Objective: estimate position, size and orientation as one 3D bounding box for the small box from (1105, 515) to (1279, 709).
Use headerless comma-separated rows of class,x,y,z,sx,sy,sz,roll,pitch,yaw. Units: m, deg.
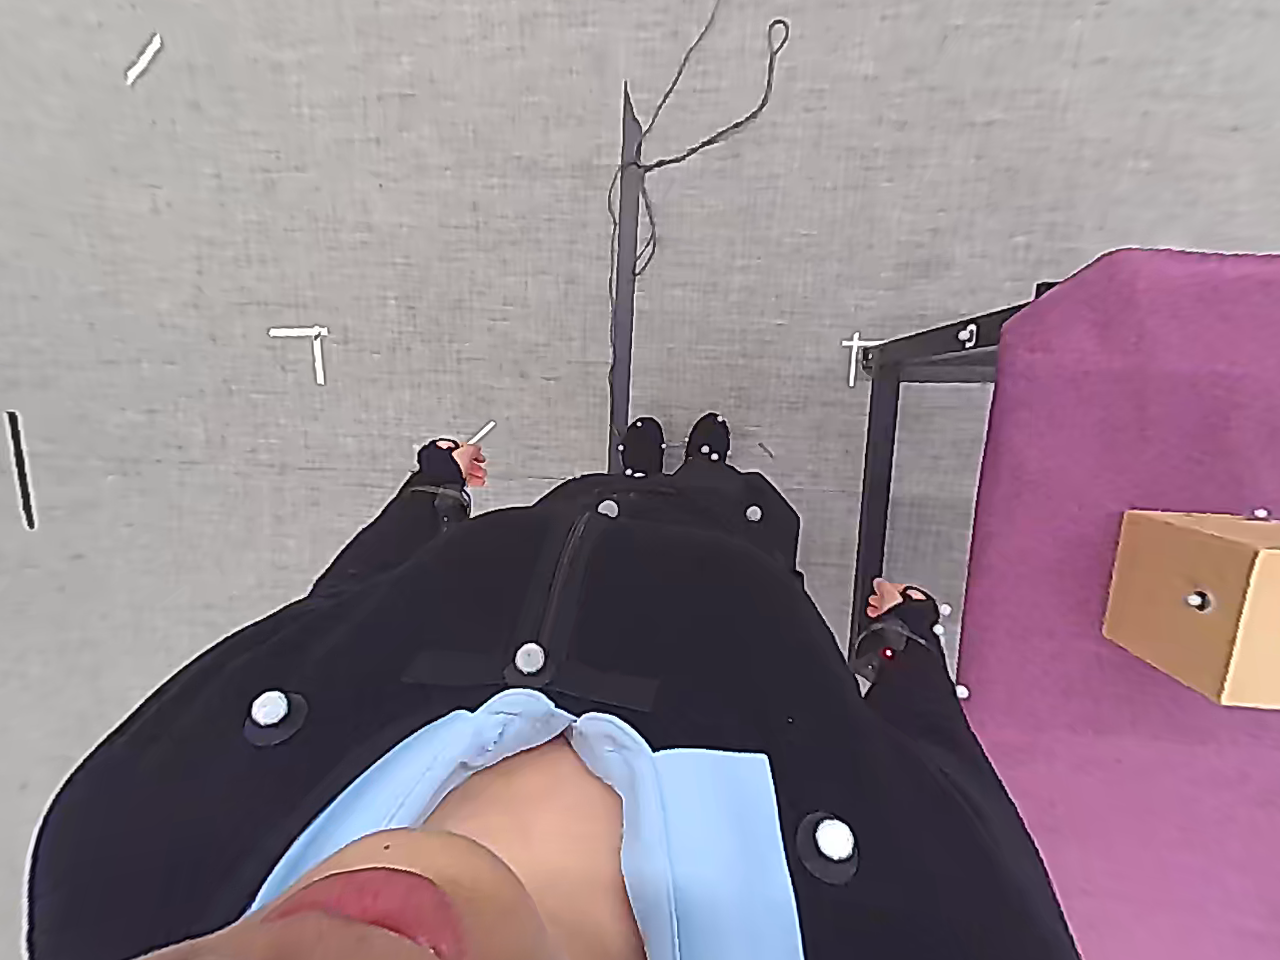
small box,0.698,0.143,0.631,0.168,0.176,0.179,3,100,5
